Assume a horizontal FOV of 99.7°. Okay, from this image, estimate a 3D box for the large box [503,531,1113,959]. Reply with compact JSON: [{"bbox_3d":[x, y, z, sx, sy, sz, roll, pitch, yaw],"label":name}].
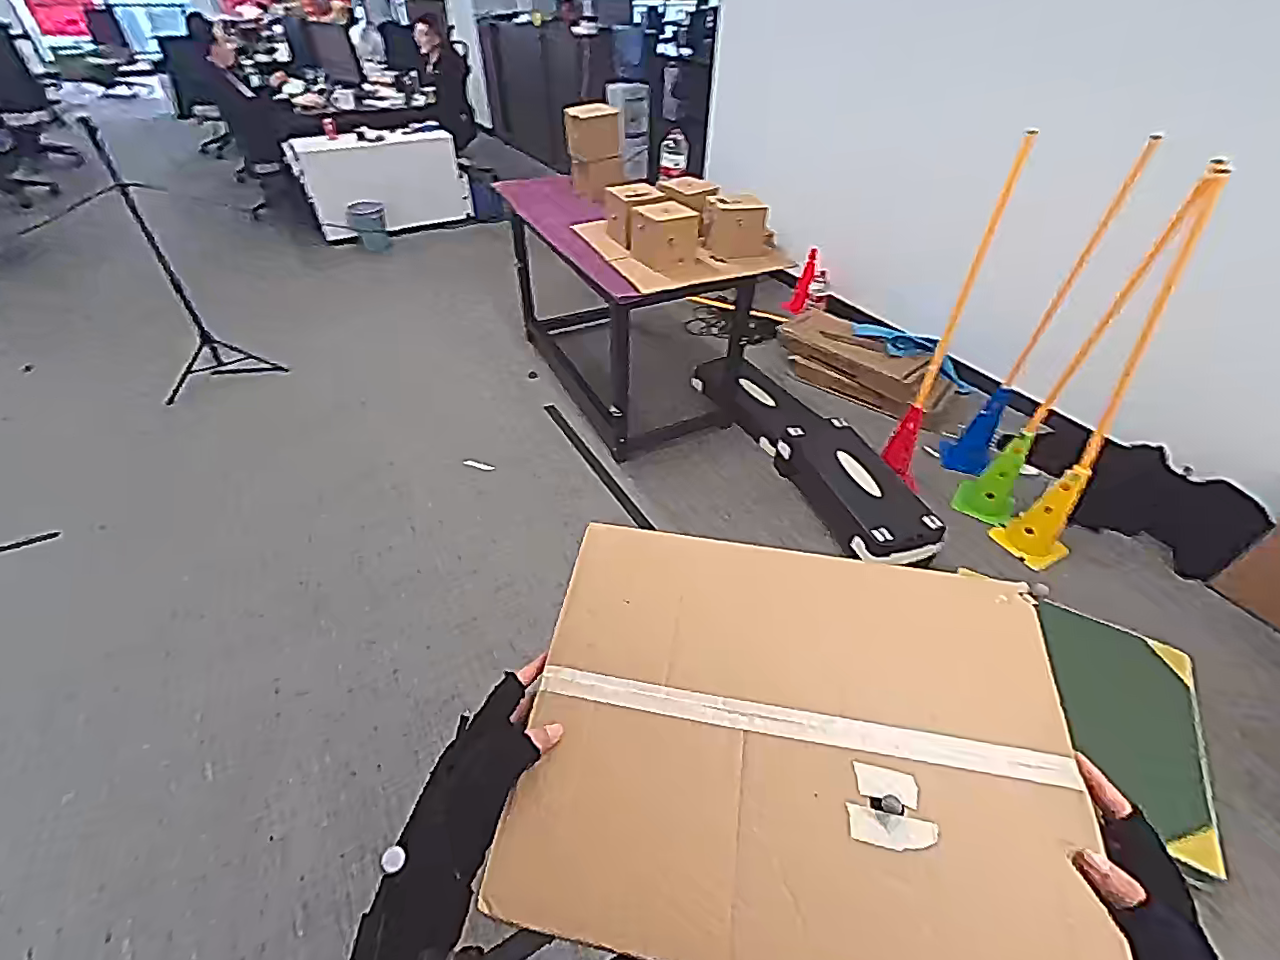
[{"bbox_3d":[0.128,0.283,0.552,0.408,0.320,0.320,7,54,8],"label":"large box"}]
